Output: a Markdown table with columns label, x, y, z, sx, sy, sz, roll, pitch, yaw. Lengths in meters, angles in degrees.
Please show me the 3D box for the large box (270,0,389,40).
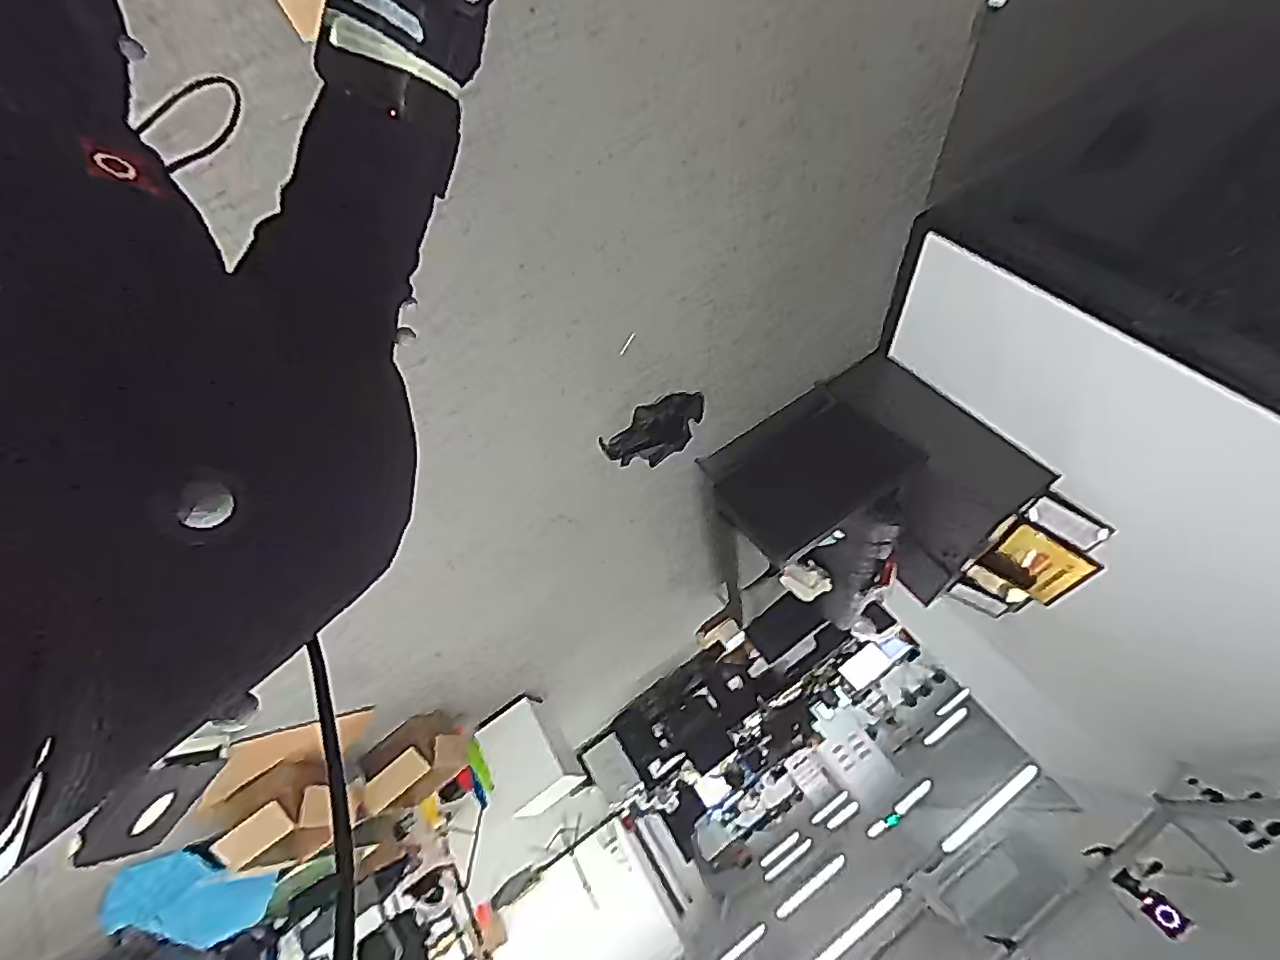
| label | x | y | z | sx | sy | sz | roll | pitch | yaw |
| --- | --- | --- | --- | --- | --- | --- | --- | --- | --- |
| large box | -0.460 | -0.884 | 0.668 | 0.320 | 0.320 | 0.408 | -34 | 151 | -8 |
